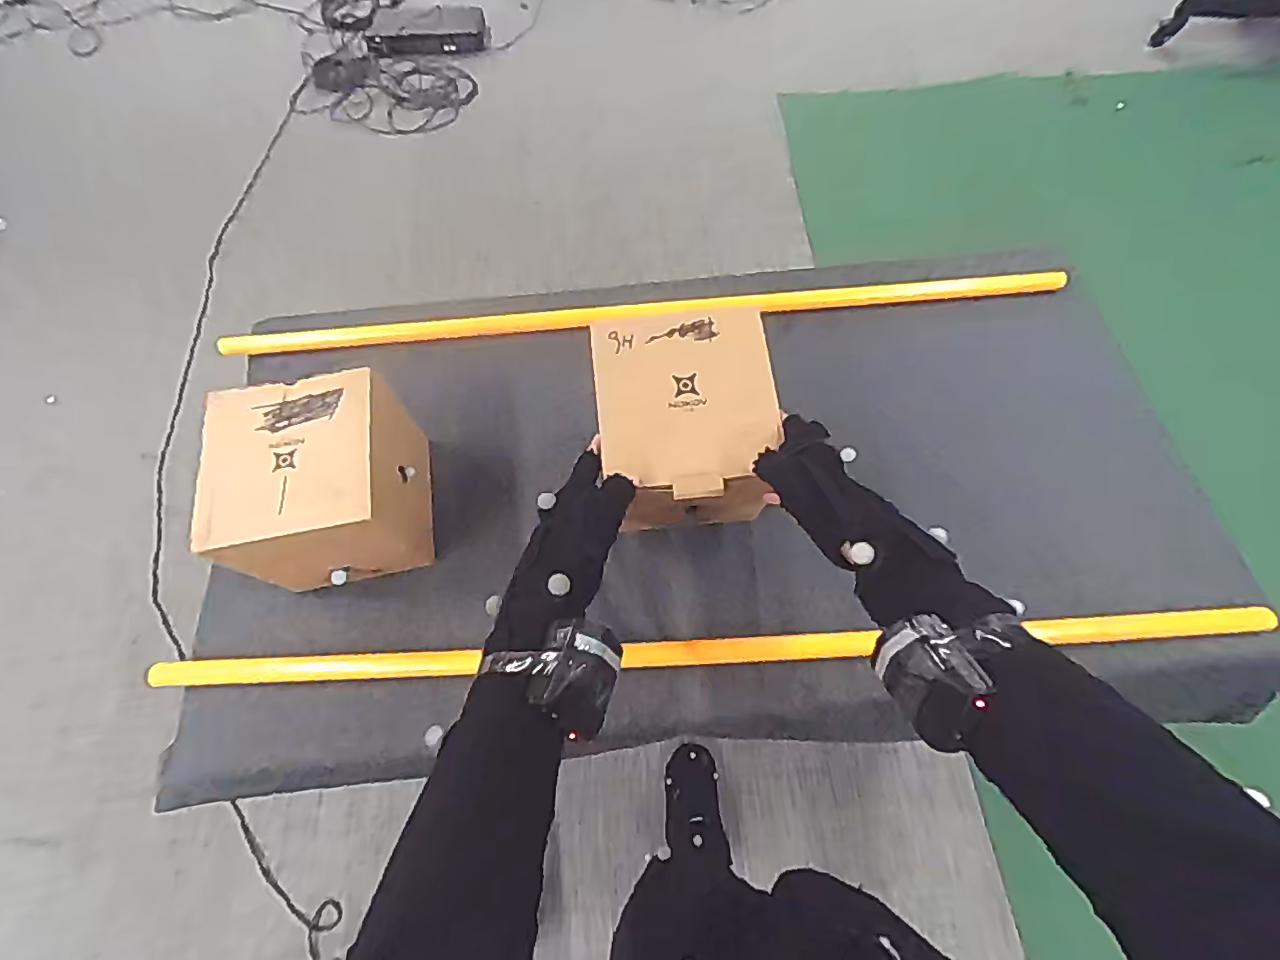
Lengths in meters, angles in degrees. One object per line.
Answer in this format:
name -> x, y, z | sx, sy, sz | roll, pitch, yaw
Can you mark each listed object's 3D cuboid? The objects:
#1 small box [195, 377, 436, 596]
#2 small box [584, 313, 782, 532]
small box -> -0.339, 0.015, 0.603 | 0.168, 0.176, 0.179 | -11, 66, -4
small box -> 0.041, -0.047, 0.581 | 0.168, 0.176, 0.179 | -9, 72, 0
